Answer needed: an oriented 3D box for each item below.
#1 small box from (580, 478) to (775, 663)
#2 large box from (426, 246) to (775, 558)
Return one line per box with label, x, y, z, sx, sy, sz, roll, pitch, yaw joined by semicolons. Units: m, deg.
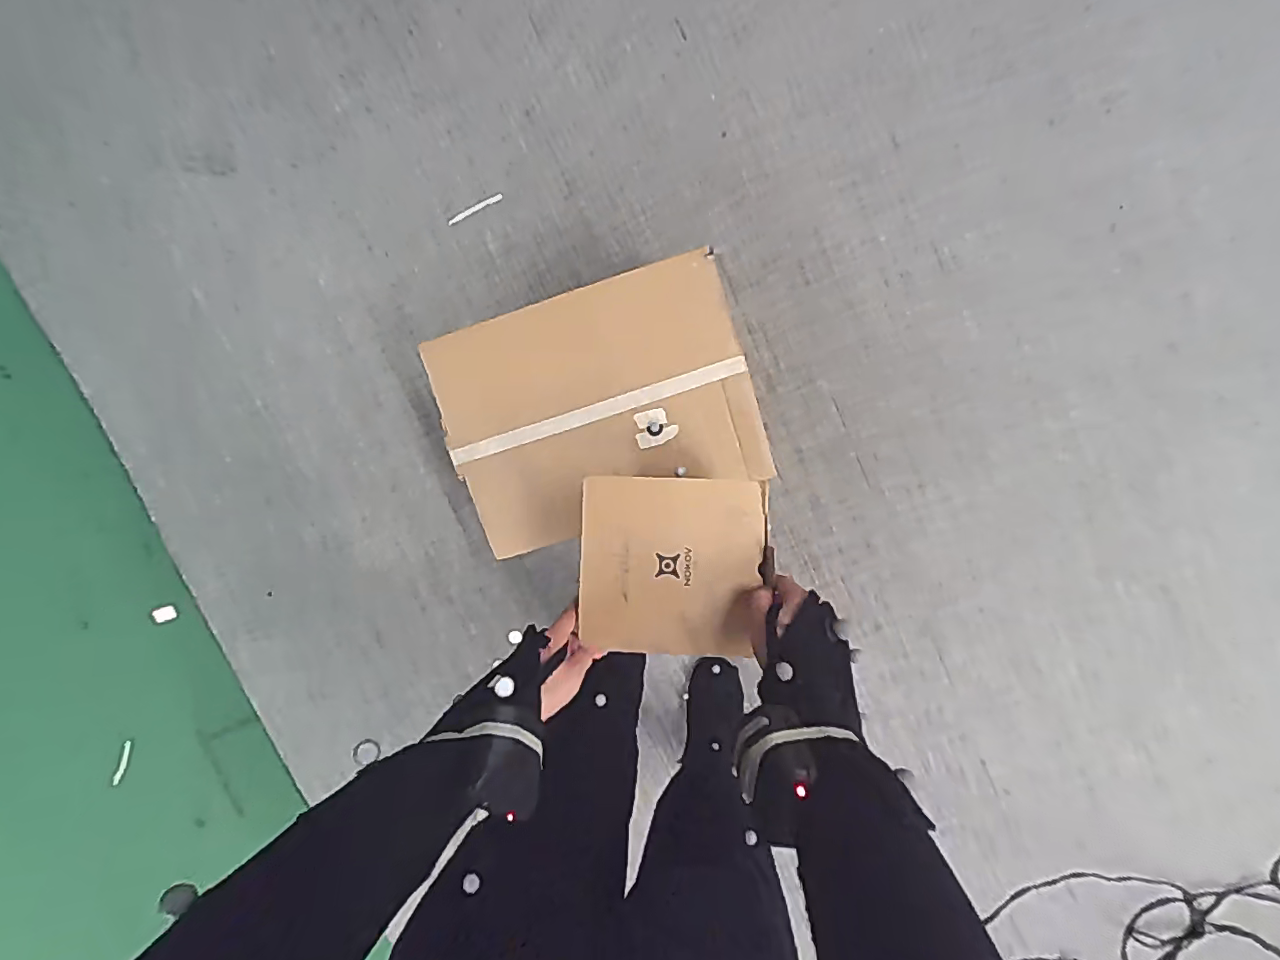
small box;0.040;0.086;0.580;0.179;0.176;0.168;2;87;5
large box;-0.049;-0.112;0.865;0.408;0.320;0.320;-18;97;4
